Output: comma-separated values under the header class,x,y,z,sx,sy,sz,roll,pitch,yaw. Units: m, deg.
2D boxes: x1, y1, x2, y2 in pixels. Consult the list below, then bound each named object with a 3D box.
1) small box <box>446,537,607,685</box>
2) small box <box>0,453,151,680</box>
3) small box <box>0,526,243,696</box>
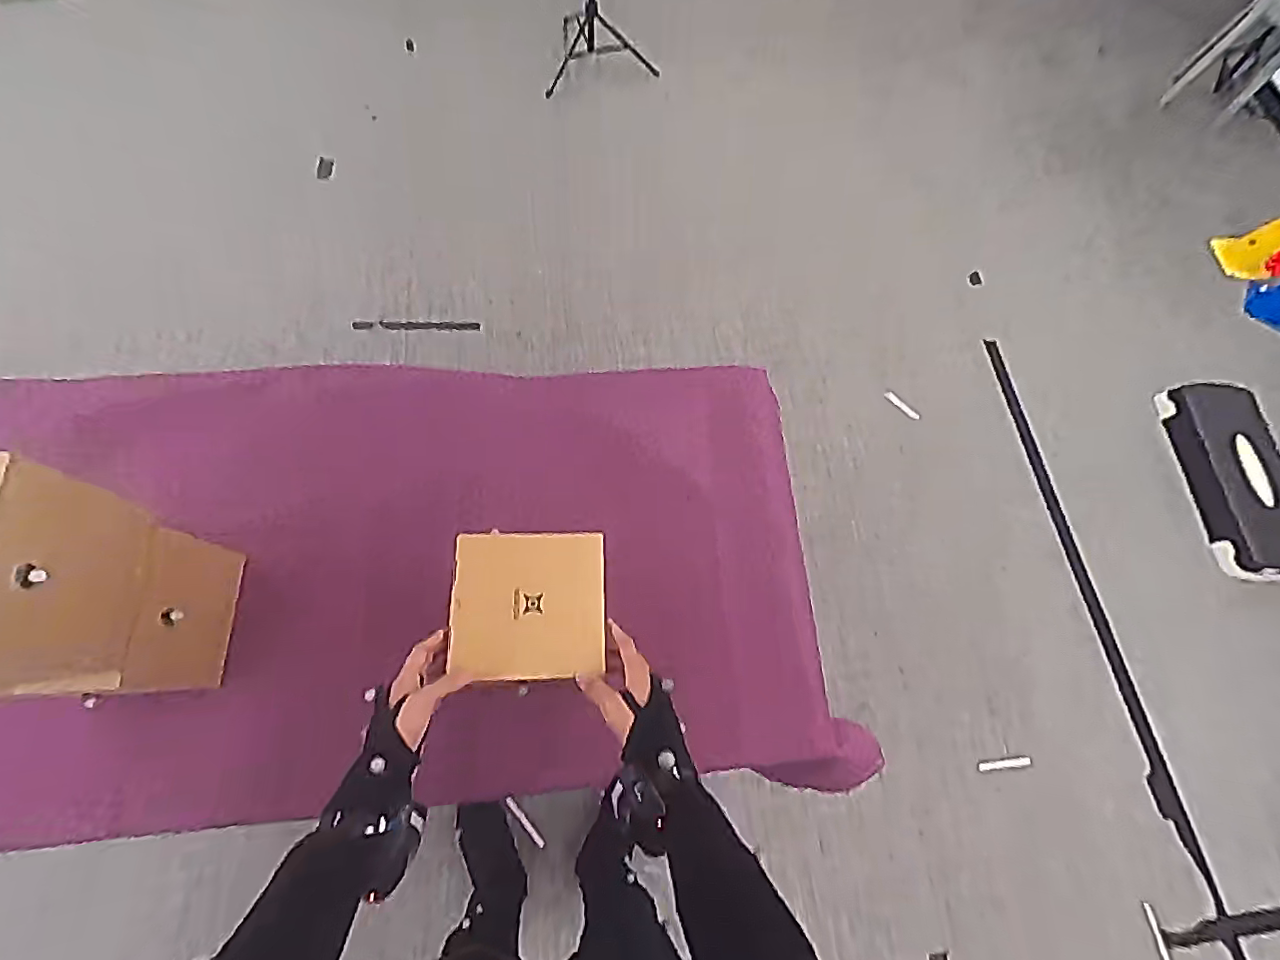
class,x,y,z,sx,sy,sz,roll,pitch,yaw
small box,-0.134,0.173,0.695,0.179,0.176,0.168,0,69,-5
small box,-0.608,0.091,0.497,0.168,0.176,0.179,-4,69,-8
small box,-0.619,0.160,0.646,0.168,0.176,0.179,0,69,-7
